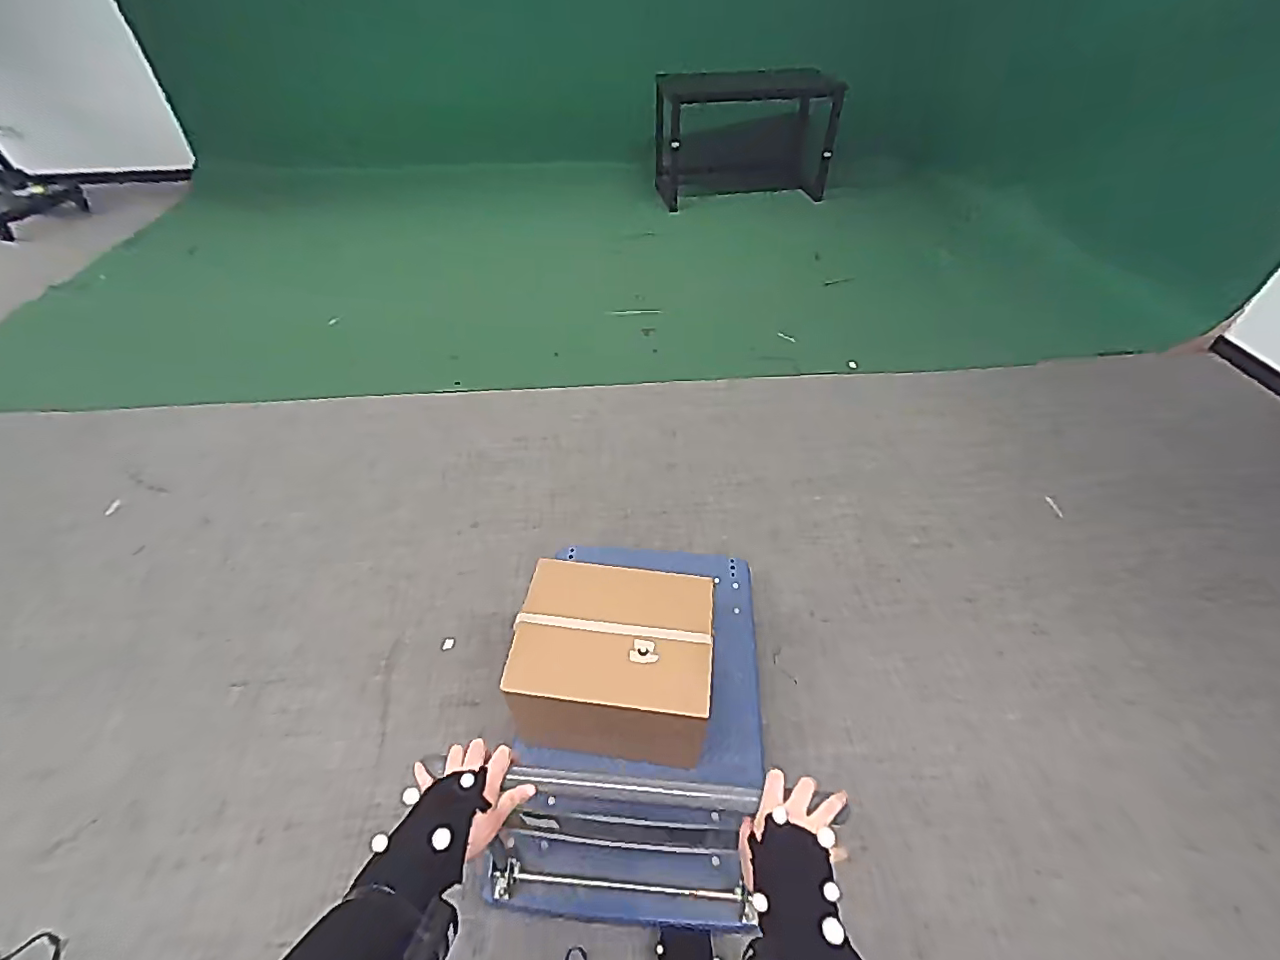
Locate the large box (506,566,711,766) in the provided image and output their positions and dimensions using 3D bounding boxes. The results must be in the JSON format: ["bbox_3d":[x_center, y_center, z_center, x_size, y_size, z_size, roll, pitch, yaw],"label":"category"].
[{"bbox_3d":[-0.056,0.429,1.250,0.408,0.320,0.320,6,46,4],"label":"large box"}]
